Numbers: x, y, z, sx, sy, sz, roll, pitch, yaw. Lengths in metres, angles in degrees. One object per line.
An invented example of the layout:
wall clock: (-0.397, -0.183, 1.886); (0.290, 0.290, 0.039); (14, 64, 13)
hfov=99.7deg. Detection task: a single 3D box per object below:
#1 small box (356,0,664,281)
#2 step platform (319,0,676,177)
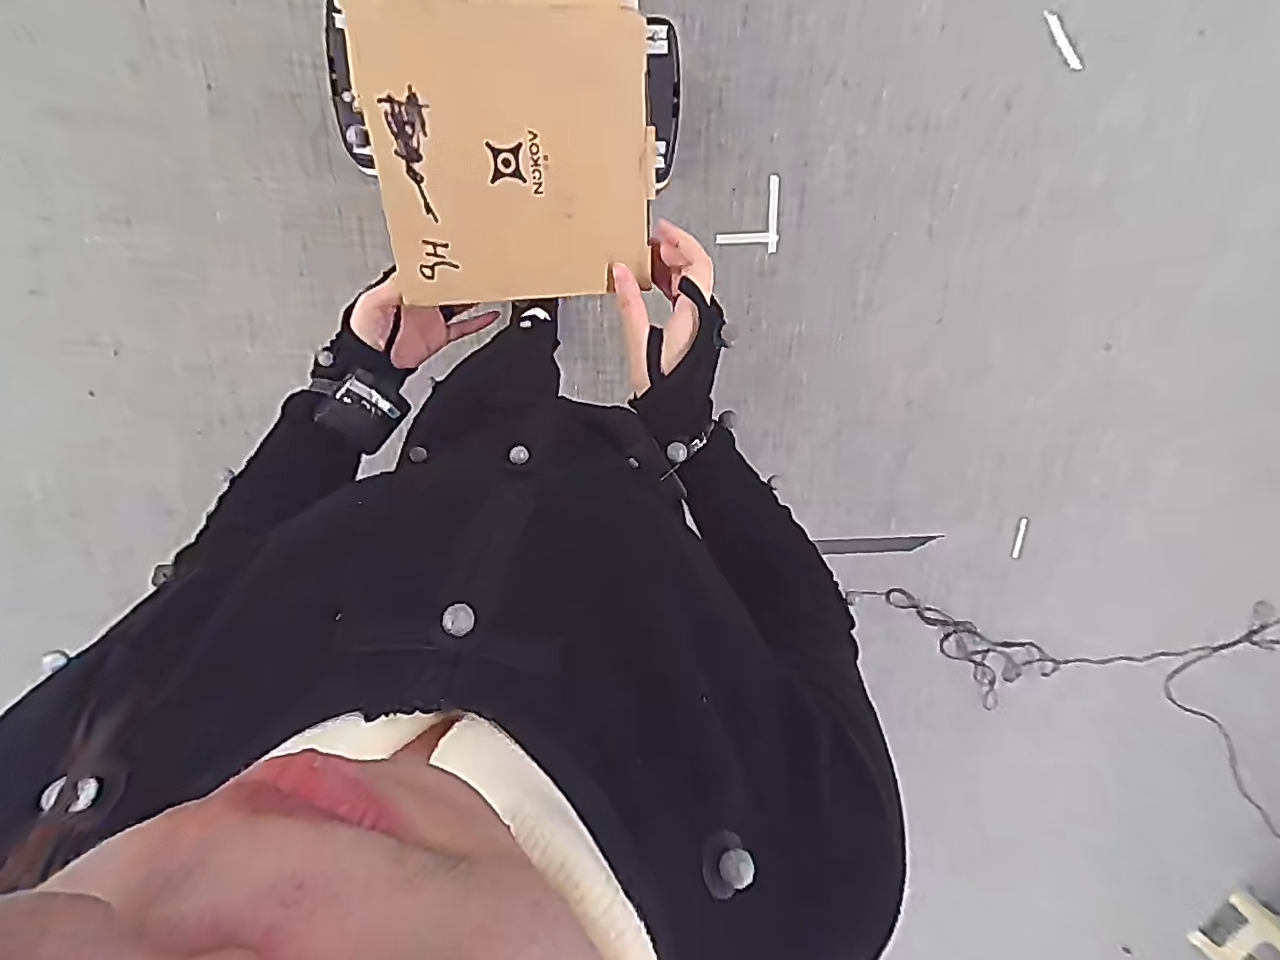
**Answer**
small box: (-0.091, -0.243, 0.403); (0.179, 0.176, 0.168); (-8, 115, -15)
step platform: (-0.268, -0.777, 1.112); (0.684, 0.204, 0.286); (4, 108, -7)
